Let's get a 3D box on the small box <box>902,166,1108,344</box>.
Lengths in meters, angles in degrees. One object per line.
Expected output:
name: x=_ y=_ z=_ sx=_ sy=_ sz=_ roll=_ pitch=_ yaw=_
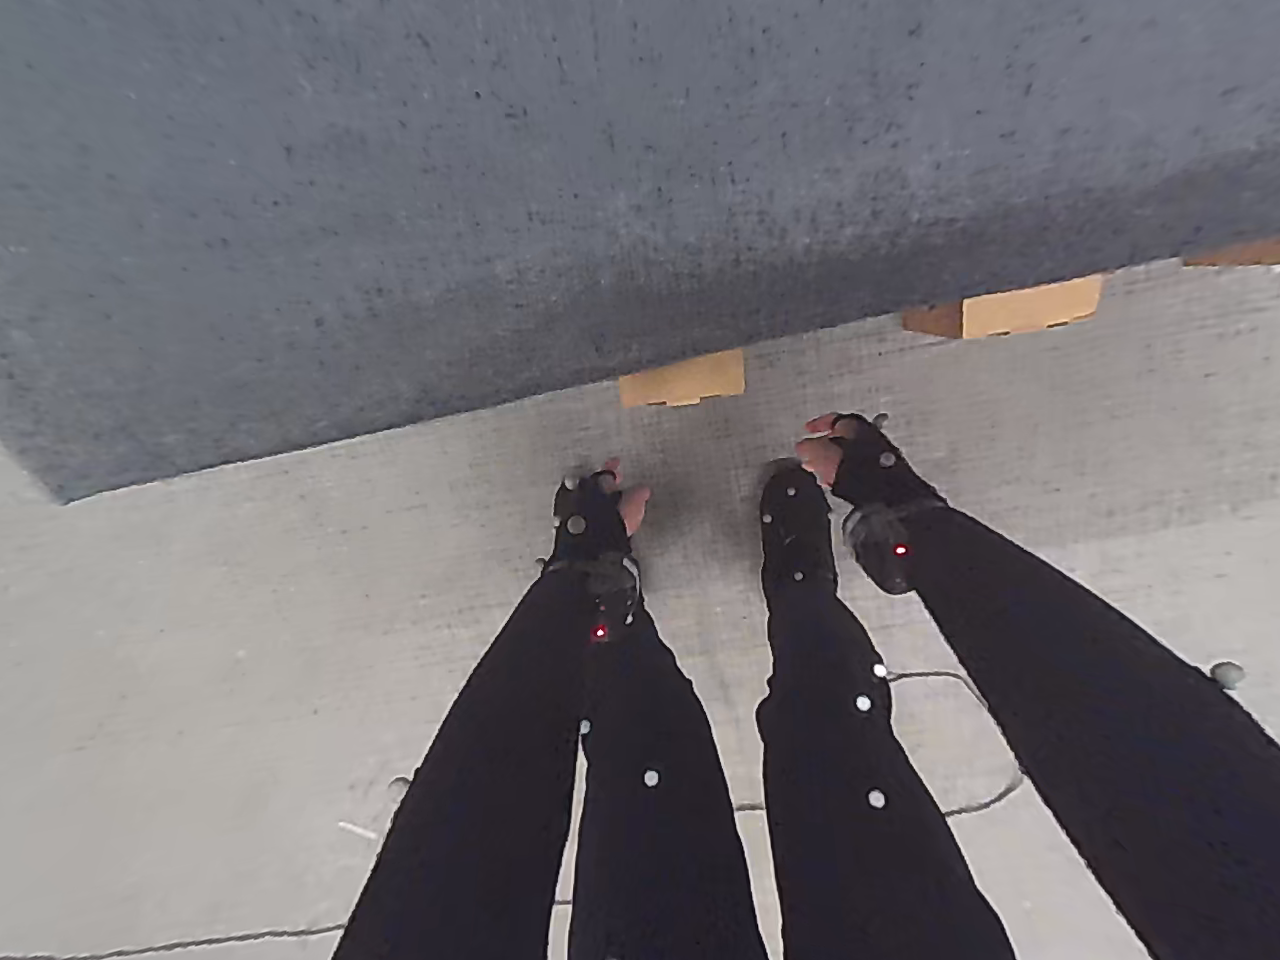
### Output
small box: x=0.467 y=-0.288 z=0.719 sx=0.168 sy=0.176 sz=0.179 roll=-10 pitch=106 yaw=5

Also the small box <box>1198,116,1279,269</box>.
small box: x=0.859 y=-0.365 z=0.666 sx=0.168 sy=0.176 sz=0.179 roll=-6 pitch=109 yaw=5
